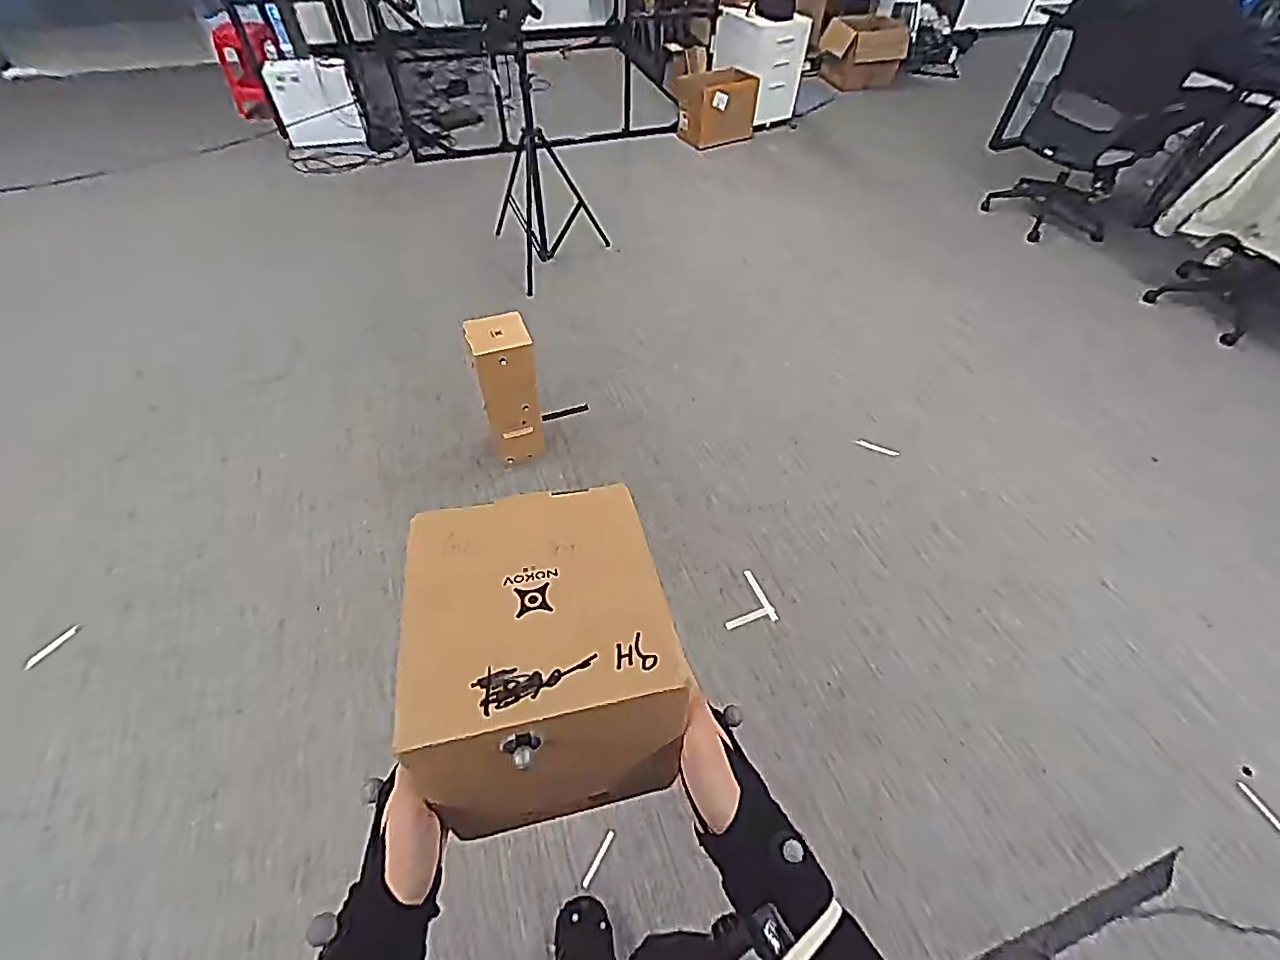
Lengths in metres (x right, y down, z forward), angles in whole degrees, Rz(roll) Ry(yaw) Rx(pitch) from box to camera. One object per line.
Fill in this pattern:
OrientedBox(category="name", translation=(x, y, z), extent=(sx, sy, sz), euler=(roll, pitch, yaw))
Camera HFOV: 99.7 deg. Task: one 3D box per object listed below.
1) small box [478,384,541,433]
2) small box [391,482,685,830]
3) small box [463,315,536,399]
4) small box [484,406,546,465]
OrientedBox(category="small box", translation=(-0.432, -0.274, 1.787), extent=(0.168, 0.176, 0.179), euler=(-17, 54, -16))
OrientedBox(category="small box", translation=(-0.072, 0.129, 0.413), extent=(0.168, 0.176, 0.179), euler=(-9, 43, -10))
OrientedBox(category="small box", translation=(-0.425, -0.376, 1.661), extent=(0.179, 0.176, 0.168), euler=(-18, 55, -16))
OrientedBox(category="small box", translation=(-0.438, -0.173, 1.914), extent=(0.168, 0.176, 0.179), euler=(-17, 54, -15))
